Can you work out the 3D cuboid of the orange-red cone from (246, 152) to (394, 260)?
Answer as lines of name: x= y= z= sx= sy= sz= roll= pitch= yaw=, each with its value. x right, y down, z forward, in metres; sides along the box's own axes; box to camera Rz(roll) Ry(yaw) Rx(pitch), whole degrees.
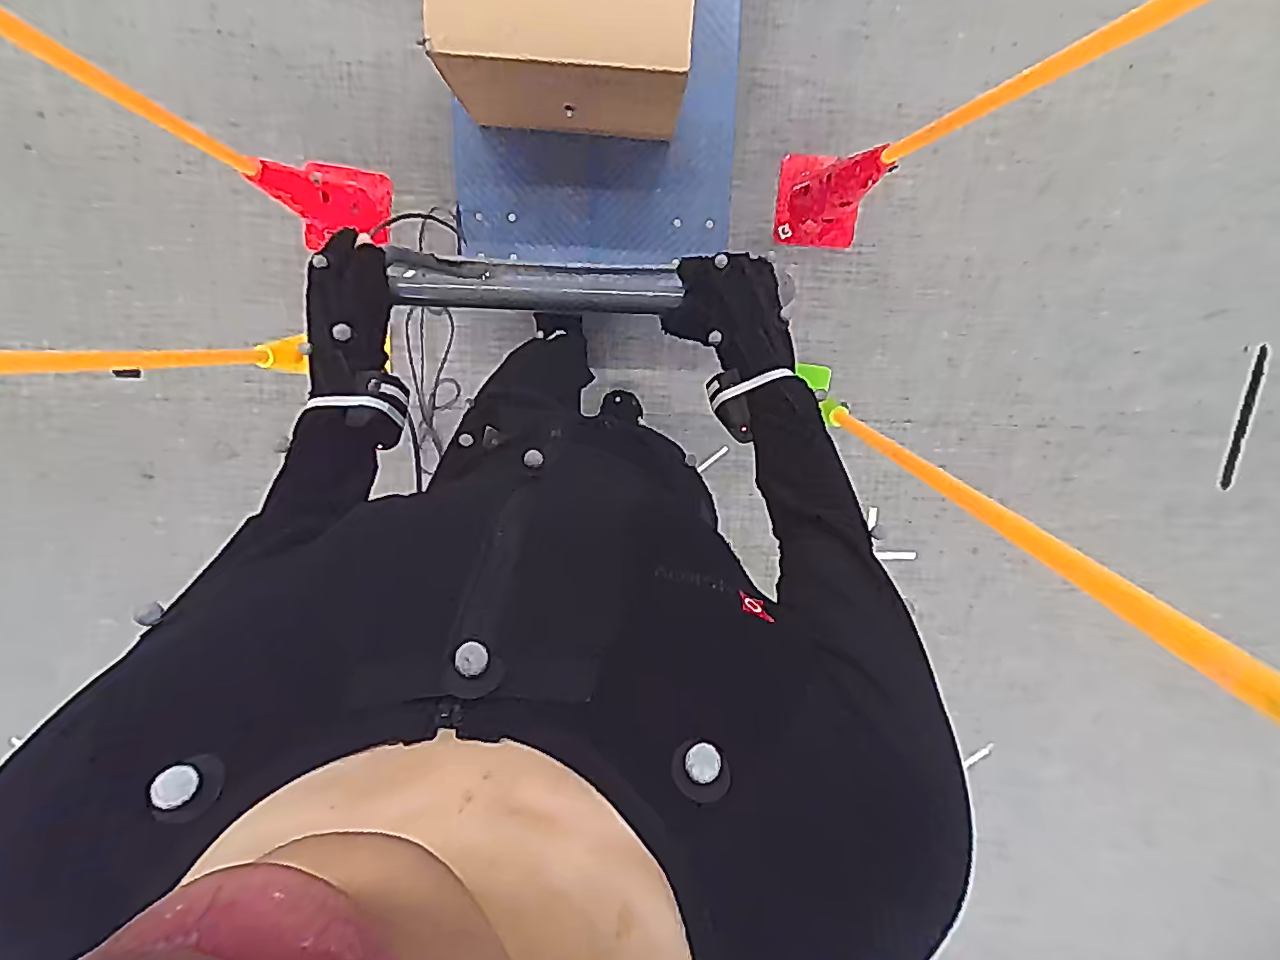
orange-red cone: x=-0.688 y=-0.606 z=1.128 sx=0.198 sy=0.360 sz=0.199 roll=9 pitch=102 yaw=-5

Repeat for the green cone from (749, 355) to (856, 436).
green cone: x=0.403 y=-0.178 z=1.259 sx=0.202 sy=0.368 sz=0.200 roll=6 pitch=104 yaw=-4

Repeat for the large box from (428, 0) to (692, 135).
large box: x=-0.117 y=-0.824 z=0.936 sx=0.408 sy=0.320 sz=0.320 roll=3 pitch=105 yaw=-2

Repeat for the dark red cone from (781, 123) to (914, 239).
dark red cone: x=0.446 y=-0.642 z=1.123 sx=0.201 sy=0.394 sz=0.202 roll=2 pitch=105 yaw=-4
